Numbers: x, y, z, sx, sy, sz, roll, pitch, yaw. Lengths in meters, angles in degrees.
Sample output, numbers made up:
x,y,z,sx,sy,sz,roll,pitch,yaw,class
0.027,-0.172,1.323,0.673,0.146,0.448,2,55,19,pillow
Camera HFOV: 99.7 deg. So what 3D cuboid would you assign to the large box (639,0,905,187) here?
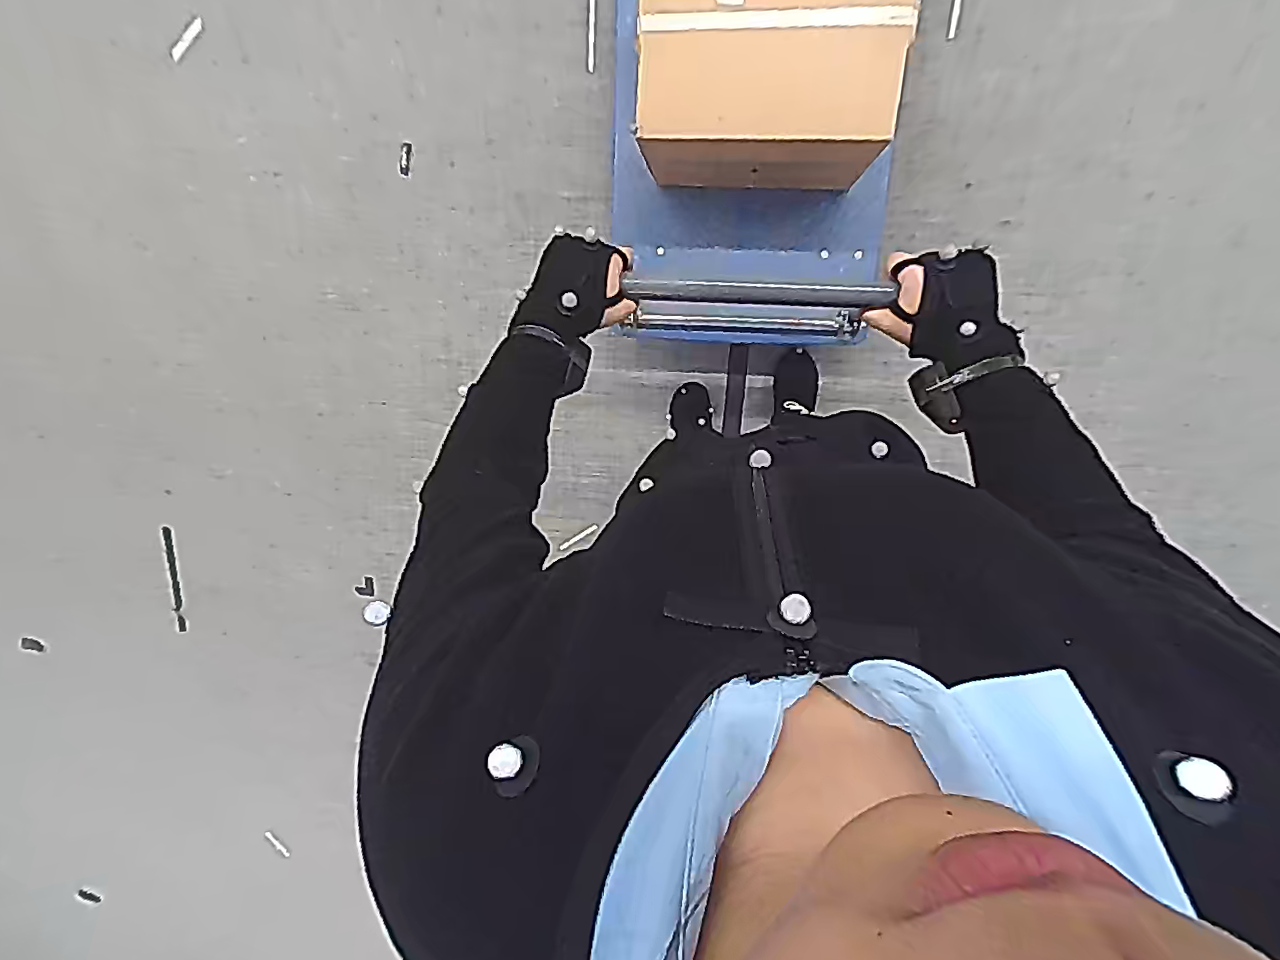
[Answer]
x,y,z,sx,sy,sz,roll,pitch,yaw,class
0.224,-0.736,0.980,0.408,0.320,0.320,5,105,8,large box
